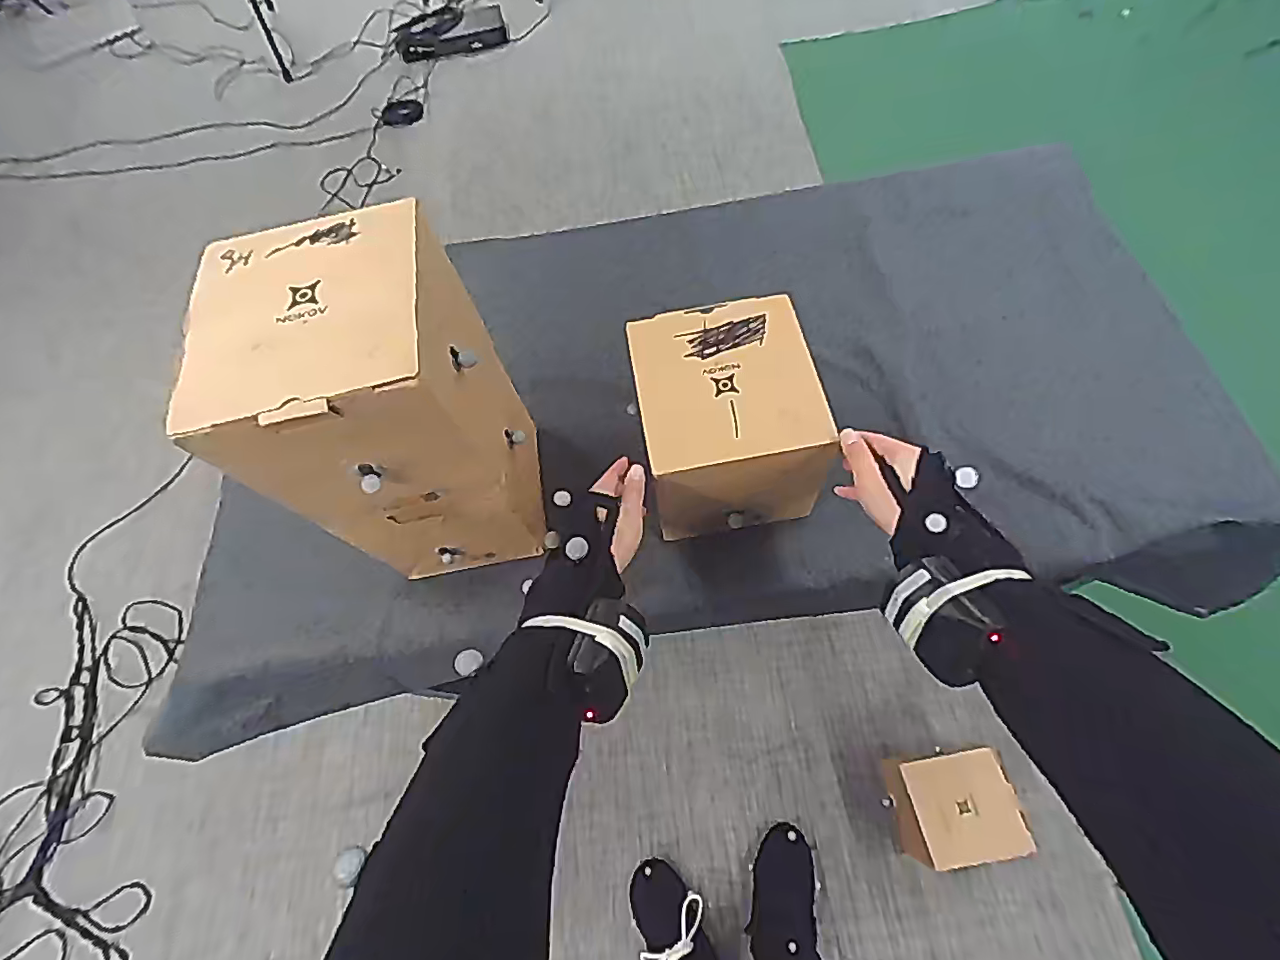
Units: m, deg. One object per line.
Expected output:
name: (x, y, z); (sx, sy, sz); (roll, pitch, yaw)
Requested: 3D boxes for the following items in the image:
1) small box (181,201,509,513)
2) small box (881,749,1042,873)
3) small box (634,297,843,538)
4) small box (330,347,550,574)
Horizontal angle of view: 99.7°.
small box: (-0.216, -0.084, 0.446); (0.168, 0.176, 0.179); (-13, 64, 1)
small box: (0.581, 0.603, 1.004); (0.179, 0.176, 0.168); (-12, 63, 2)
small box: (0.092, -0.058, 0.573); (0.168, 0.176, 0.179); (-10, 63, 3)
small box: (-0.204, -0.014, 0.593); (0.168, 0.176, 0.179); (-11, 64, 1)
